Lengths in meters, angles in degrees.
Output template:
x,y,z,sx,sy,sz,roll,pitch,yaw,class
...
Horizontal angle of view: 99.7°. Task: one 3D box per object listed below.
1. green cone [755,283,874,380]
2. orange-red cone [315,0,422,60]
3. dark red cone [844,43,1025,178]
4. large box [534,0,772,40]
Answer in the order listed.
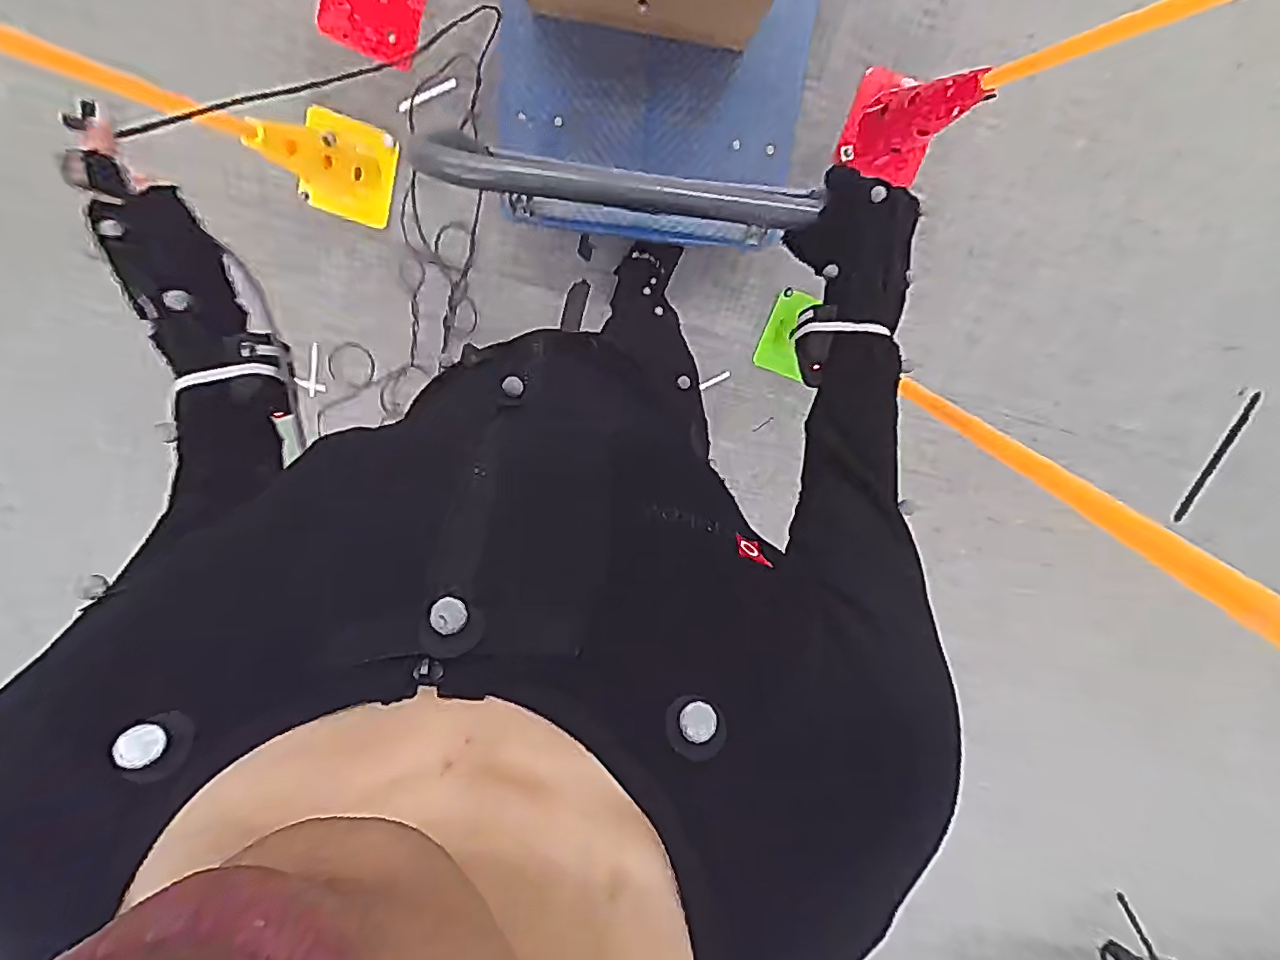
x,y,z,sx,sy,sz,roll,pitch,yaw,class
0.422,-0.310,1.212,0.202,0.368,0.200,18,110,-10,green cone
-0.536,-0.941,0.940,0.198,0.360,0.199,21,108,-11,orange-red cone
0.575,-0.734,1.032,0.201,0.394,0.202,14,111,-9,dark red cone
0.027,-0.920,0.810,0.408,0.320,0.320,7,112,-4,large box
